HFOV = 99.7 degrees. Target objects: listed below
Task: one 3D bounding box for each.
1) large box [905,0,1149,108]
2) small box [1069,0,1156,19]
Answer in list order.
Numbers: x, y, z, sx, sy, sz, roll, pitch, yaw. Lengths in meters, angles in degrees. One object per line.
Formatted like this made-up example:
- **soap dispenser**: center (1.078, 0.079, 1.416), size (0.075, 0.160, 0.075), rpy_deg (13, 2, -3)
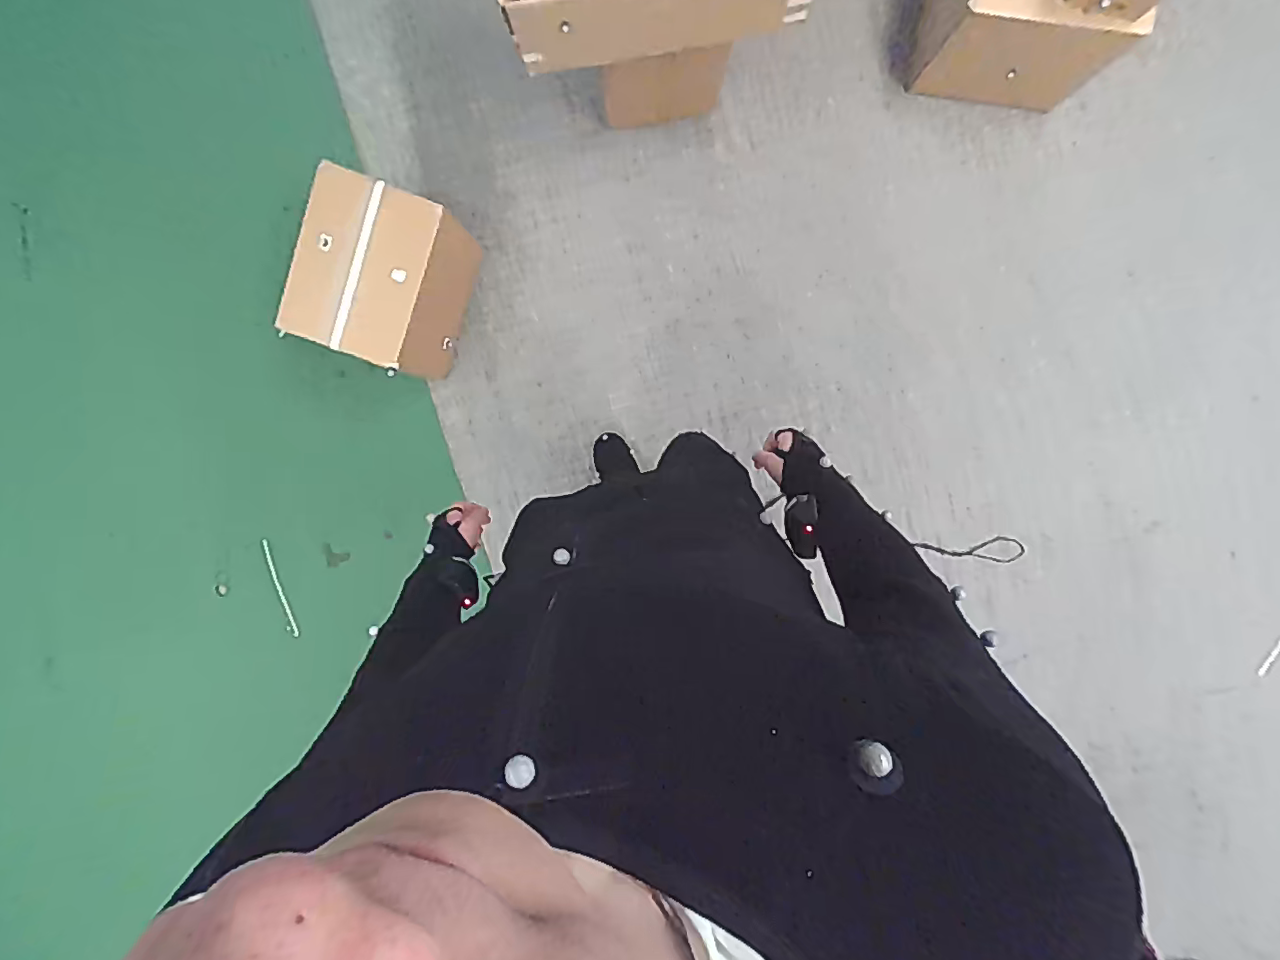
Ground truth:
- **large box**: center (0.941, -1.175, 1.328), size (0.408, 0.320, 0.320), rpy_deg (7, 96, 1)
- **small box**: center (1.018, -1.096, 1.089), size (0.168, 0.176, 0.179), rpy_deg (14, 98, 0)
